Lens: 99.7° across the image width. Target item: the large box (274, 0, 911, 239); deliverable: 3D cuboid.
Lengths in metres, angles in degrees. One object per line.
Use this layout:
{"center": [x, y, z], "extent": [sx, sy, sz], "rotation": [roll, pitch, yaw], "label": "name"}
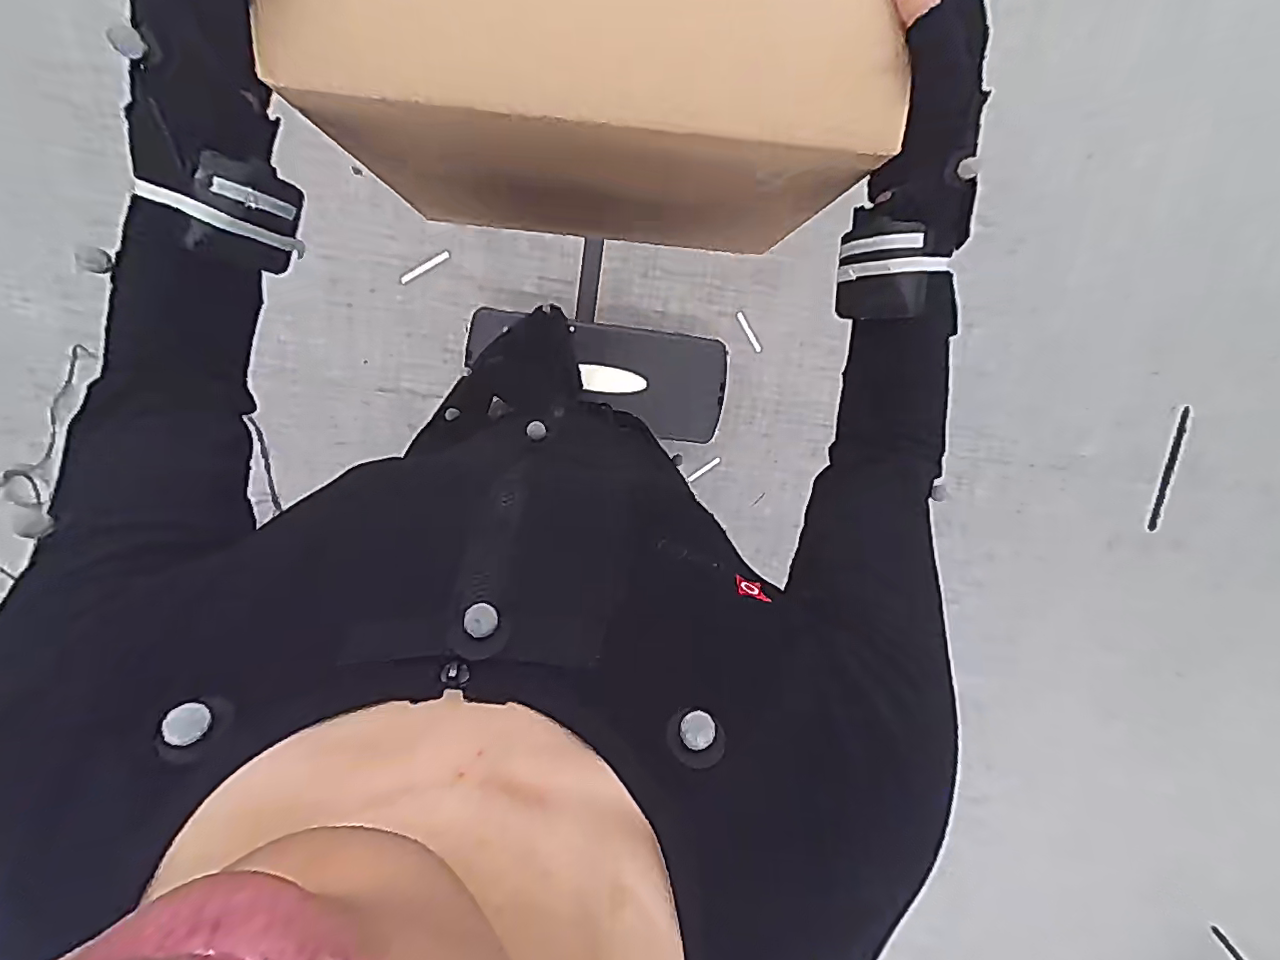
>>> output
{"center": [-0.029, -0.419, 0.466], "extent": [0.408, 0.320, 0.320], "rotation": [3, 102, -5], "label": "large box"}
